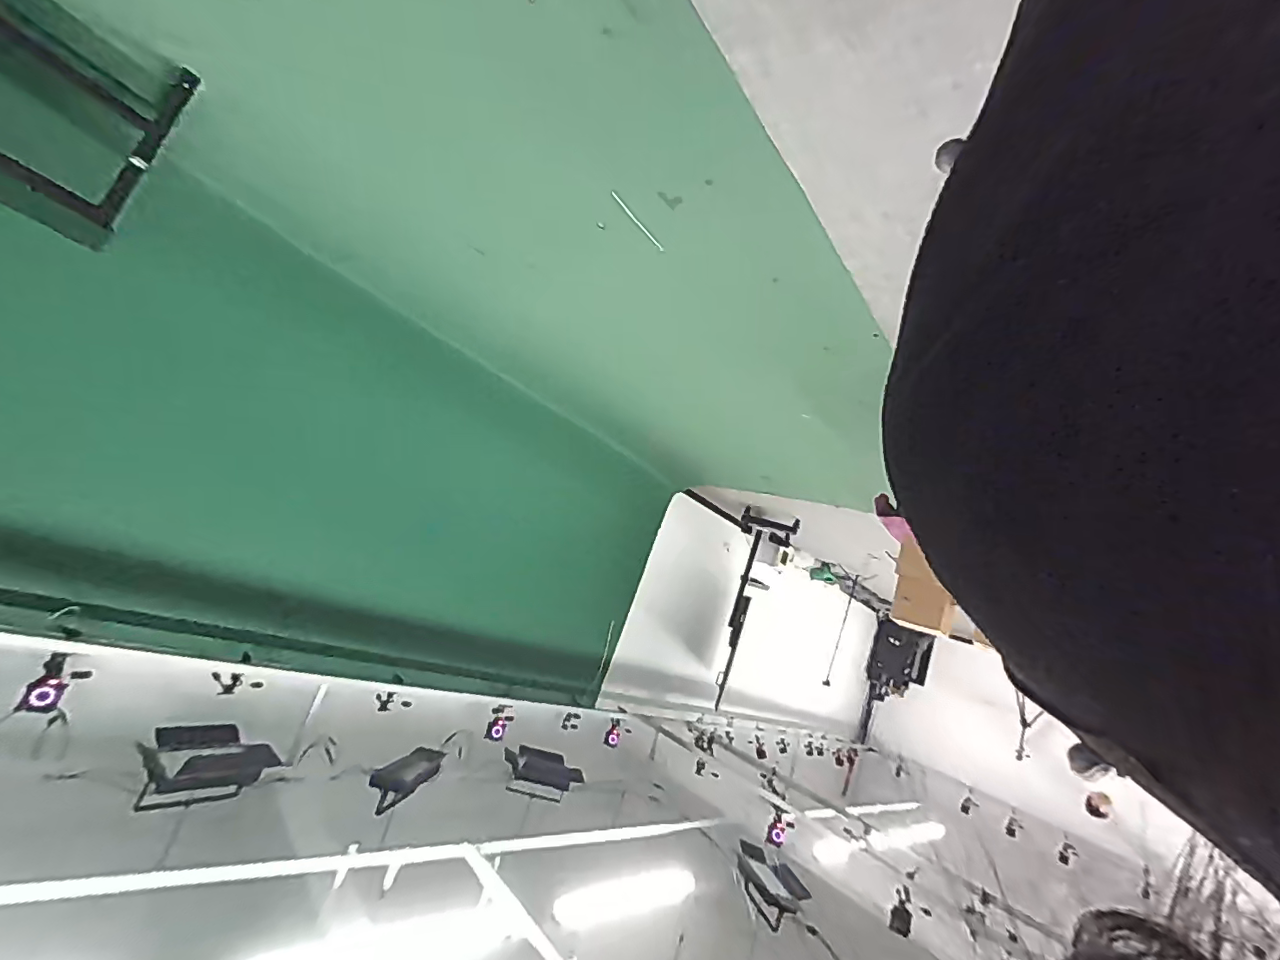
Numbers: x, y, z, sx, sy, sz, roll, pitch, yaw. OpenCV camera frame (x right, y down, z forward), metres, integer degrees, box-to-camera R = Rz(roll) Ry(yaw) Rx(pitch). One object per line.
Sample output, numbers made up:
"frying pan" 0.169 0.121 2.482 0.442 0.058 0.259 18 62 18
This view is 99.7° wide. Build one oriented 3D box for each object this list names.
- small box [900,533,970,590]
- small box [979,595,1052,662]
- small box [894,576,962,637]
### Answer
"small box" 1.122 0.311 2.052 0.168 0.176 0.179 29 166 -40
"small box" 1.265 0.496 1.825 0.179 0.176 0.168 11 167 36
"small box" 1.079 0.466 2.018 0.179 0.176 0.168 9 164 42
